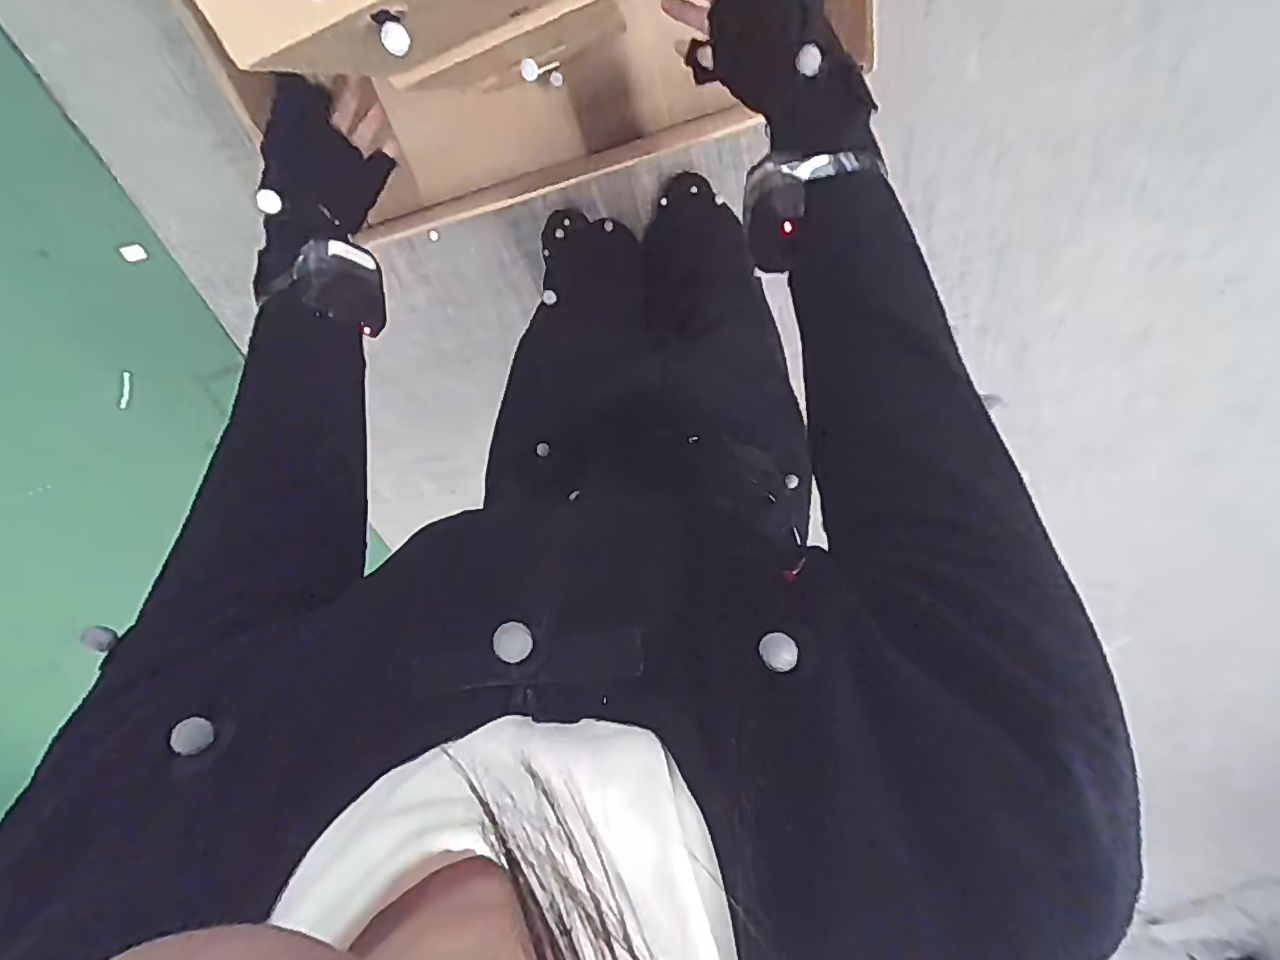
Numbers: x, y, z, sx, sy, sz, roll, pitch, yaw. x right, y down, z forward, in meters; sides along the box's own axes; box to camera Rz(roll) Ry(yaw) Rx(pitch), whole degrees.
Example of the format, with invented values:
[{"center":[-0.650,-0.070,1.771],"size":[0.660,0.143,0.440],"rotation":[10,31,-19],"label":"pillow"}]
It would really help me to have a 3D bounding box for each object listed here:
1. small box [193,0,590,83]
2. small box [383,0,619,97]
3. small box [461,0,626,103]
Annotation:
[{"center":[-0.125,-0.314,0.247],"size":[0.168,0.176,0.179],"rotation":[-14,123,12],"label":"small box"},{"center":[-0.120,-0.401,0.386],"size":[0.168,0.176,0.179],"rotation":[-14,124,12],"label":"small box"},{"center":[-0.119,-0.492,0.522],"size":[0.168,0.176,0.179],"rotation":[-16,124,12],"label":"small box"}]
